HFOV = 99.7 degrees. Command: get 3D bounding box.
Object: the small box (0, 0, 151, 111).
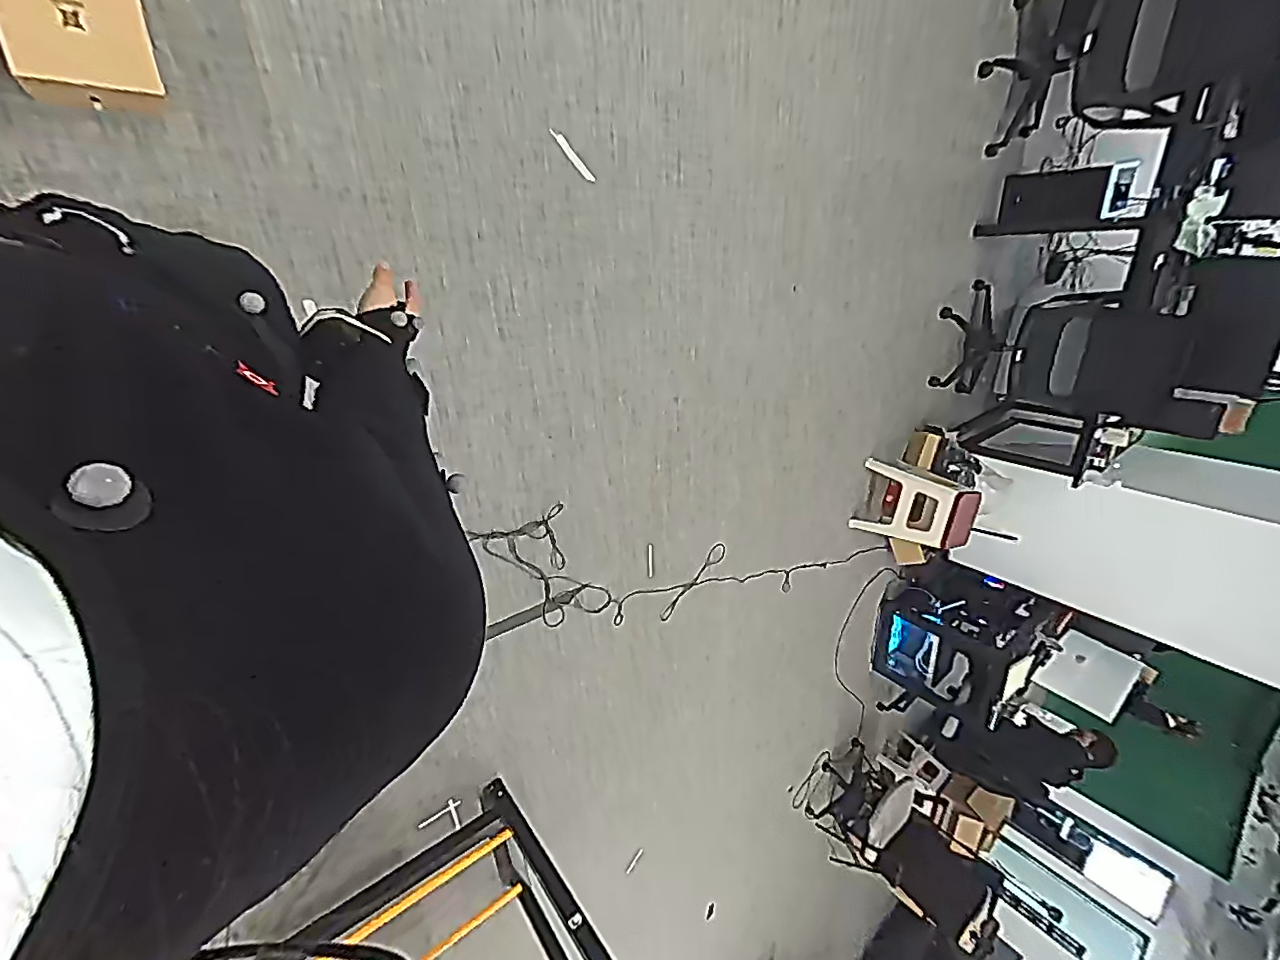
[{"bbox_3d":[-0.860,-0.675,0.805,0.168,0.176,0.179,-17,117,-36],"label":"small box"}]
